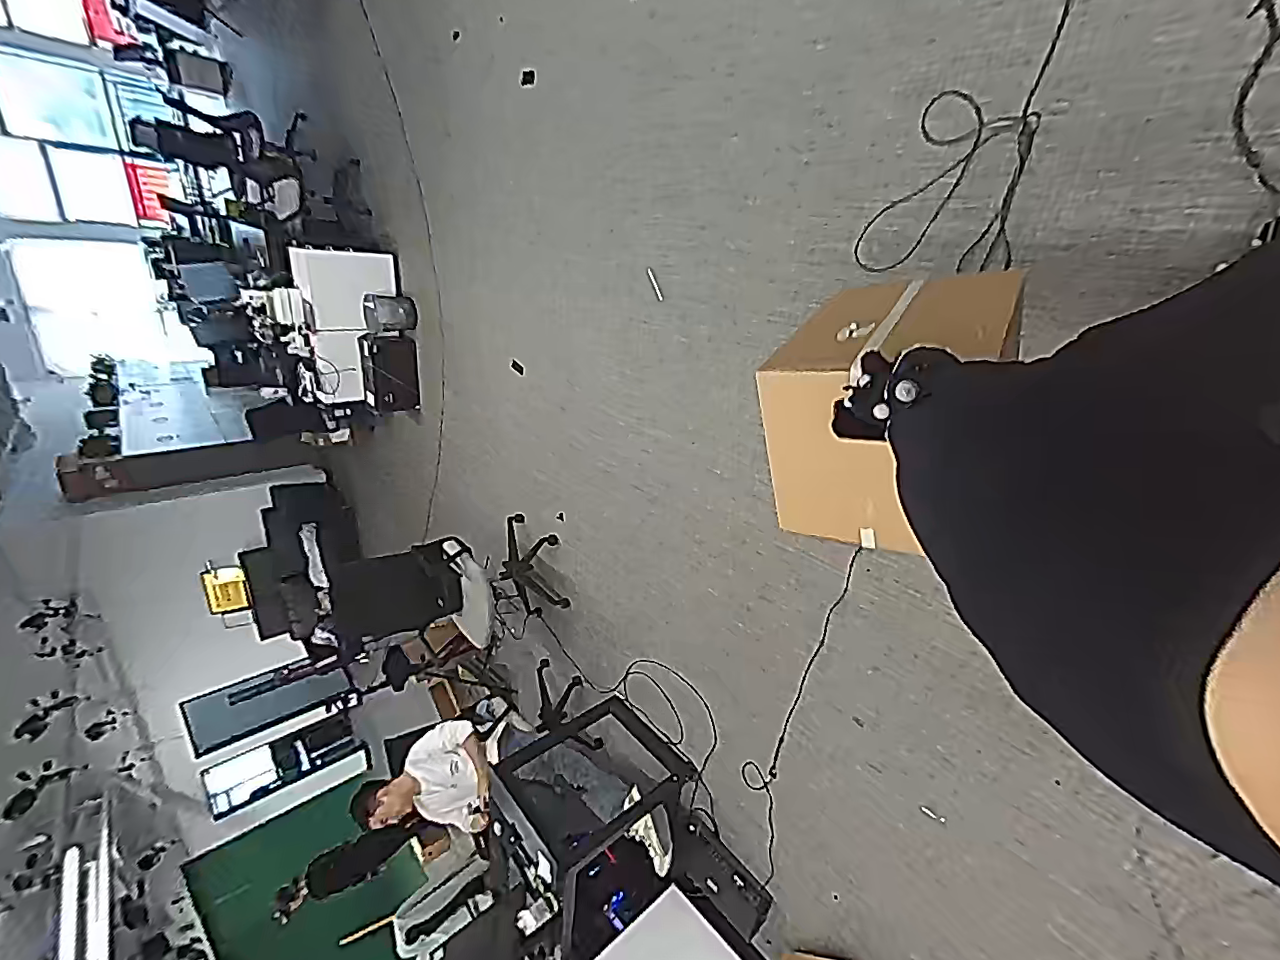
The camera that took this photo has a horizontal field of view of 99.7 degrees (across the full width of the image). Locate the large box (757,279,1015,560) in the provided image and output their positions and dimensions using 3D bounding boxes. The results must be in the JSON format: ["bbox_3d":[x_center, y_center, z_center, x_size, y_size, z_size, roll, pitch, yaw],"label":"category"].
[{"bbox_3d":[0.445,-0.123,0.947,0.320,0.408,0.320,6,126,37],"label":"large box"}]
